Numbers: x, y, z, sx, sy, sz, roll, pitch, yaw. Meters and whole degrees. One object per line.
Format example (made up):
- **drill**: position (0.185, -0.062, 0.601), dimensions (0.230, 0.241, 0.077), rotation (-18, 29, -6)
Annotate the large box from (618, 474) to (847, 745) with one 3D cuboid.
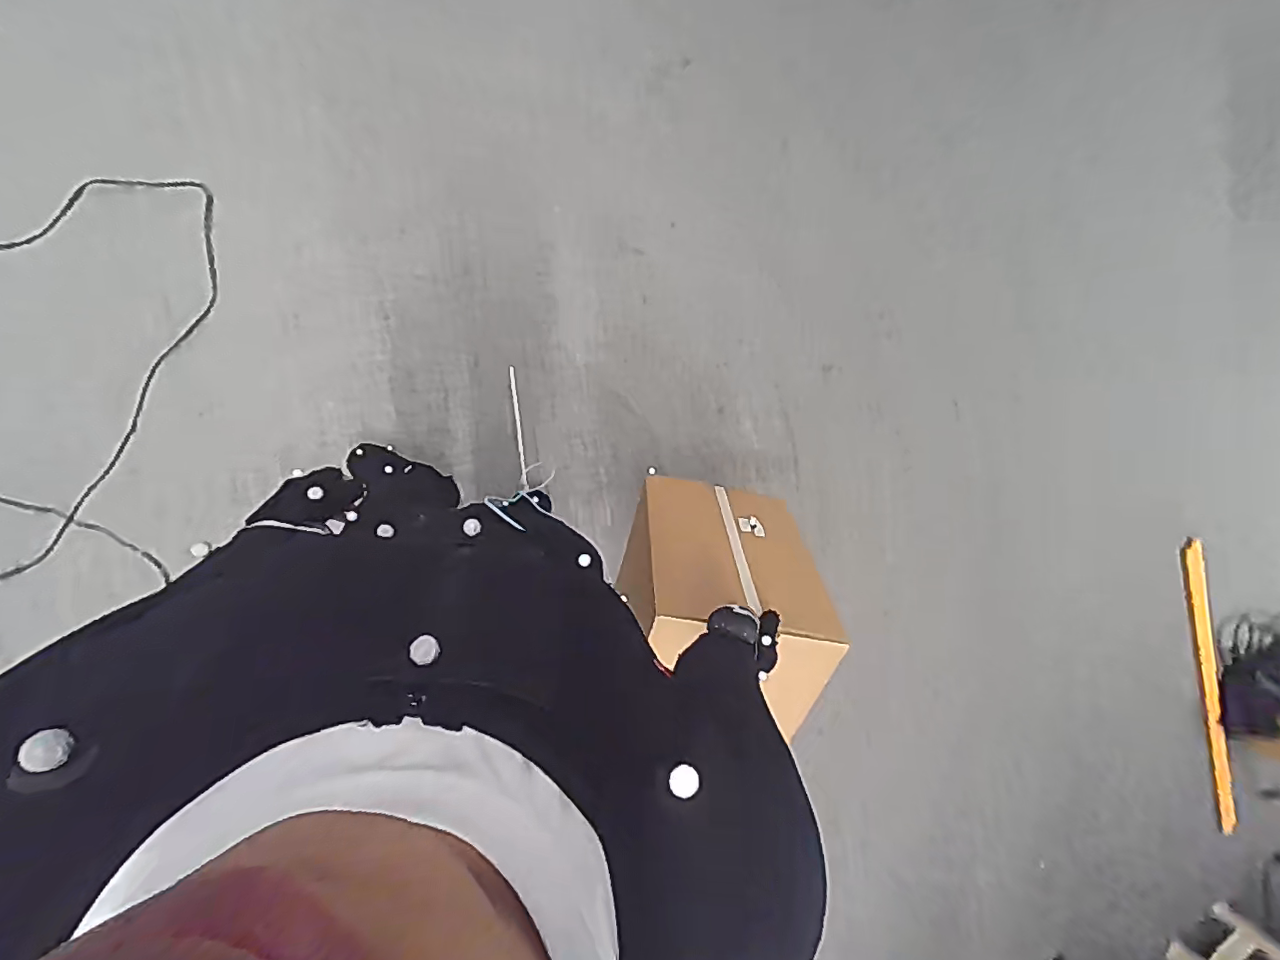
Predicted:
- **large box**: position (0.136, 0.240, 1.059), dimensions (0.320, 0.408, 0.320), rotation (11, 120, -9)
